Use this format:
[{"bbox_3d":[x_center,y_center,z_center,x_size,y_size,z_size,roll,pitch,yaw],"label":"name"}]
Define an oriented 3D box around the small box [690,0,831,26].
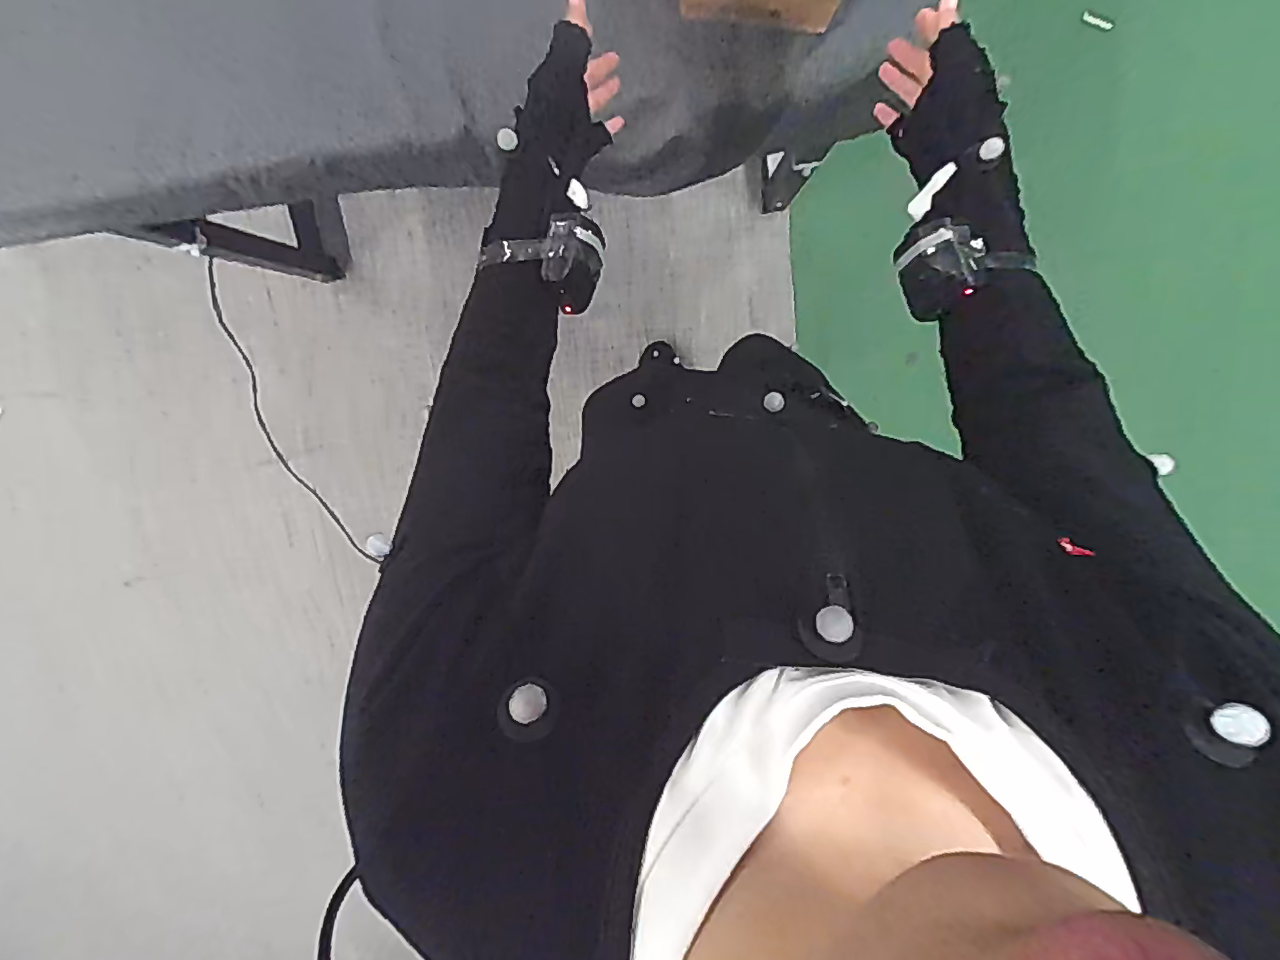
[{"bbox_3d":[0.129,-0.578,0.509,0.168,0.176,0.179,7,101,1],"label":"small box"}]
